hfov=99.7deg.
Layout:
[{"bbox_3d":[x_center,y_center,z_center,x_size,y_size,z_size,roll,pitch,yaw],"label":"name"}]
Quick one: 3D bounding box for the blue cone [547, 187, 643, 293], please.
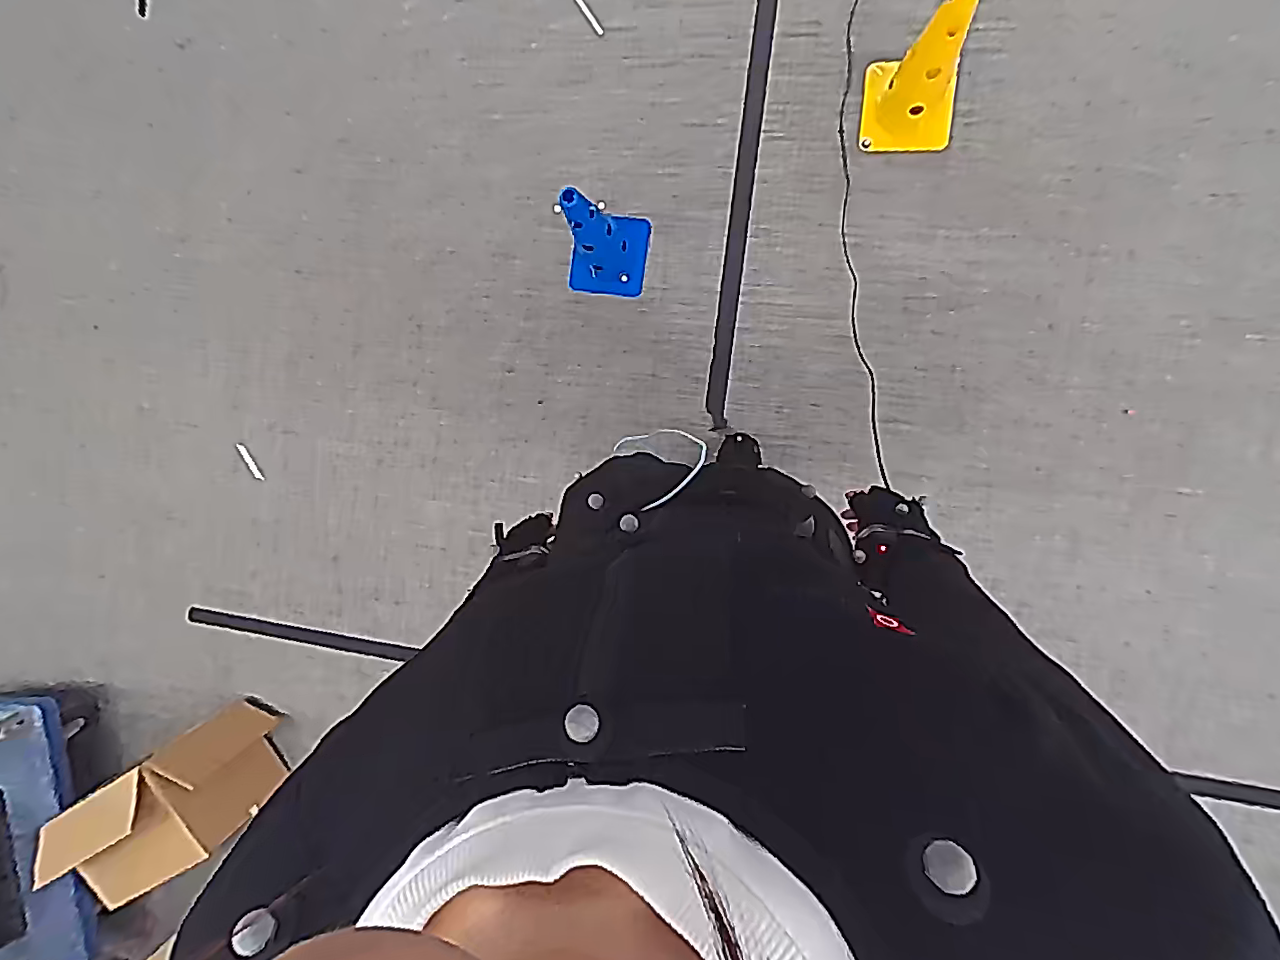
[{"bbox_3d":[-0.124,-0.579,1.256,0.192,0.380,0.193,11,96,10],"label":"blue cone"}]
